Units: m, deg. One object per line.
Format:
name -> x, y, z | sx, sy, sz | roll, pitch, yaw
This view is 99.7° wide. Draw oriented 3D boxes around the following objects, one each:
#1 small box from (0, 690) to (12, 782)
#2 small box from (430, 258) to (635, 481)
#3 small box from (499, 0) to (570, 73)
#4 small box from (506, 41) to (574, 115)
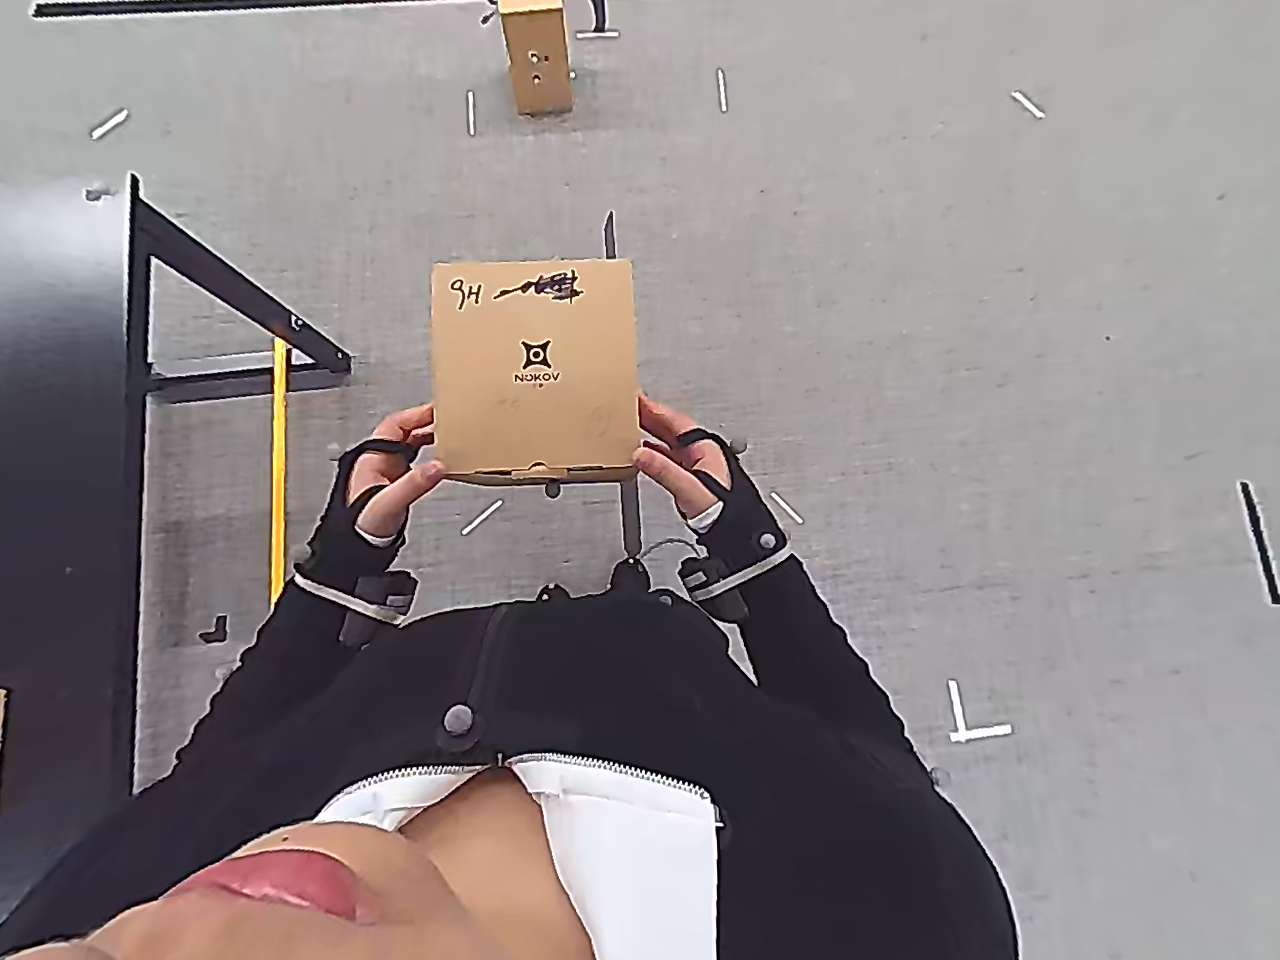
small box -> -0.927, 0.354, 0.635 | 0.179, 0.176, 0.168 | -3, 82, -2
small box -> -0.088, -0.089, 0.516 | 0.168, 0.176, 0.179 | -2, 86, -1
small box -> -0.290, -1.265, 1.477 | 0.168, 0.176, 0.179 | -9, 83, -2
small box -> -0.300, -1.243, 1.638 | 0.179, 0.176, 0.168 | -6, 82, -4
